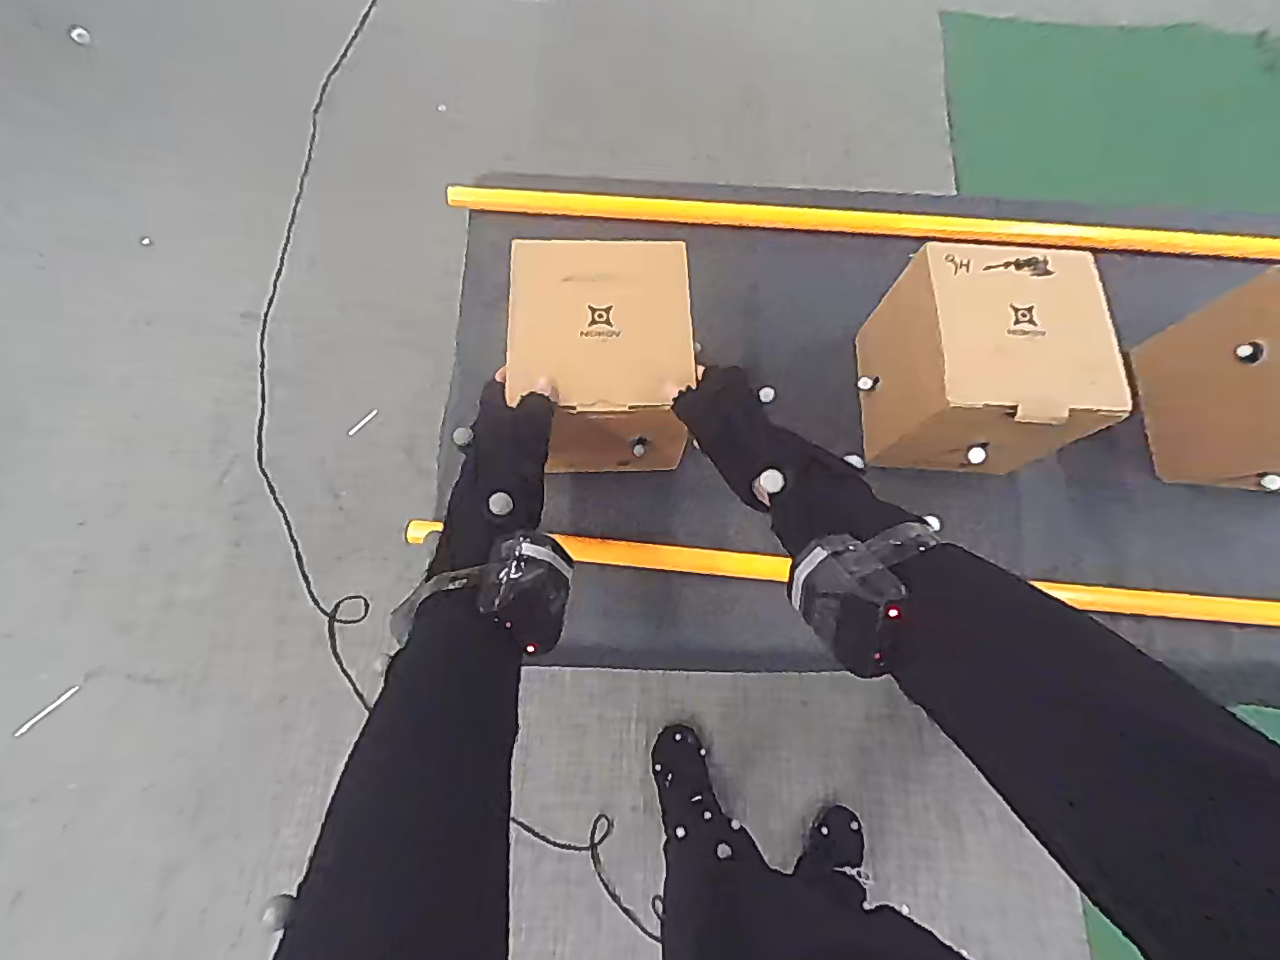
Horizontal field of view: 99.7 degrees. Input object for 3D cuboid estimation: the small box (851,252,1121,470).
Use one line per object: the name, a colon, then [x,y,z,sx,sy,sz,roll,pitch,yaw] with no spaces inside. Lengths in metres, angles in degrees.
small box: [0.344,-0.115,0.579,0.168,0.176,0.179,0,71,-1]

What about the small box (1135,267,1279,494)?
small box: [0.690,-0.096,0.581,0.168,0.176,0.179,5,73,0]

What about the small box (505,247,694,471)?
small box: [-0.041,-0.113,0.563,0.168,0.176,0.179,-1,70,-4]
